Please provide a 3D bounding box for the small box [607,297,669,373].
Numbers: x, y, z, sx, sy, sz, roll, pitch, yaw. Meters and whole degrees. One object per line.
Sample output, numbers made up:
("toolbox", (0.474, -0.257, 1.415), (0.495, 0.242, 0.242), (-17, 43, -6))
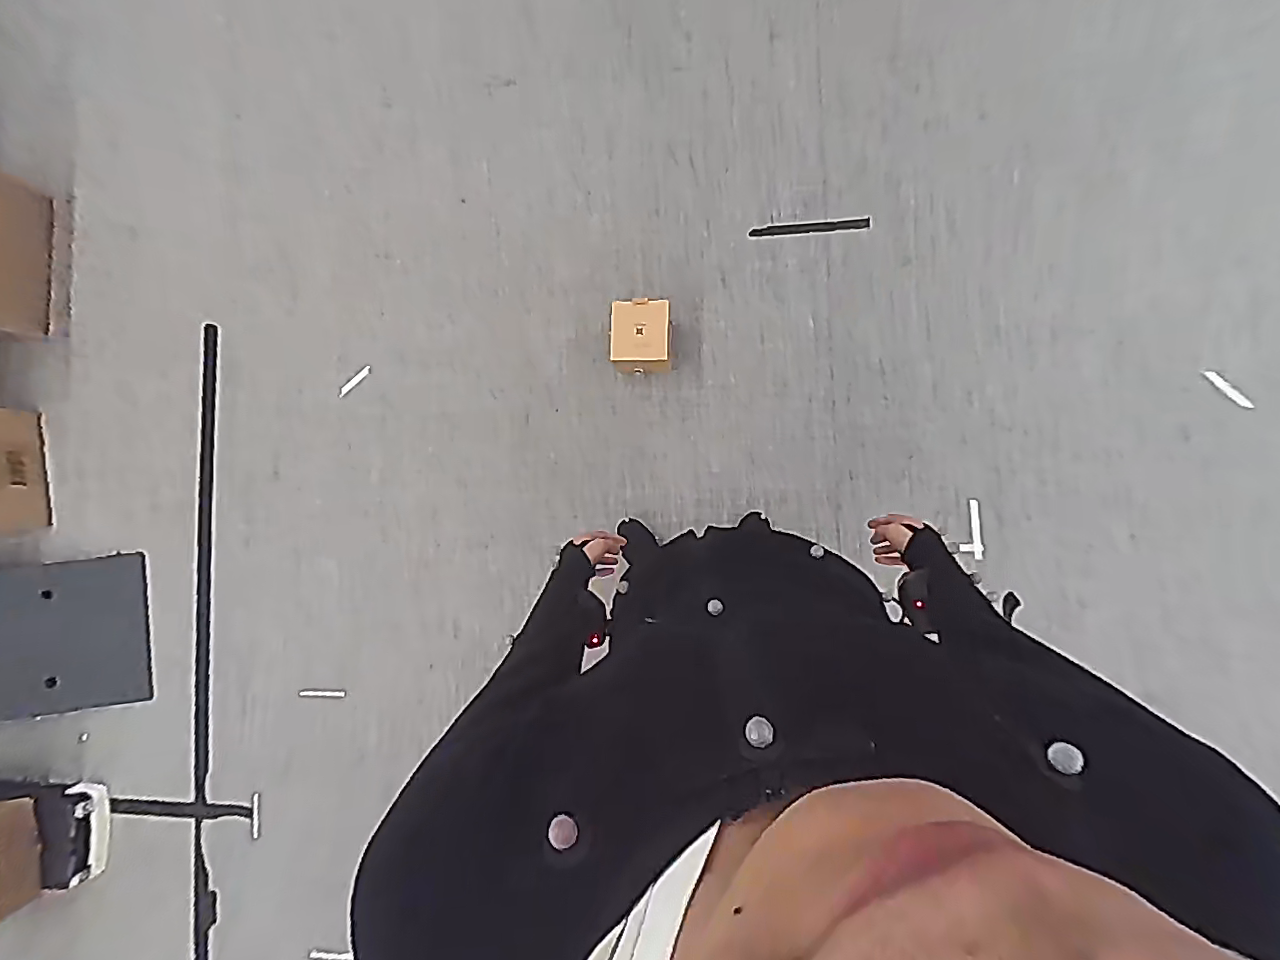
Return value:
("small box", (-0.001, -0.424, 1.602), (0.168, 0.176, 0.179), (1, 87, 7))
